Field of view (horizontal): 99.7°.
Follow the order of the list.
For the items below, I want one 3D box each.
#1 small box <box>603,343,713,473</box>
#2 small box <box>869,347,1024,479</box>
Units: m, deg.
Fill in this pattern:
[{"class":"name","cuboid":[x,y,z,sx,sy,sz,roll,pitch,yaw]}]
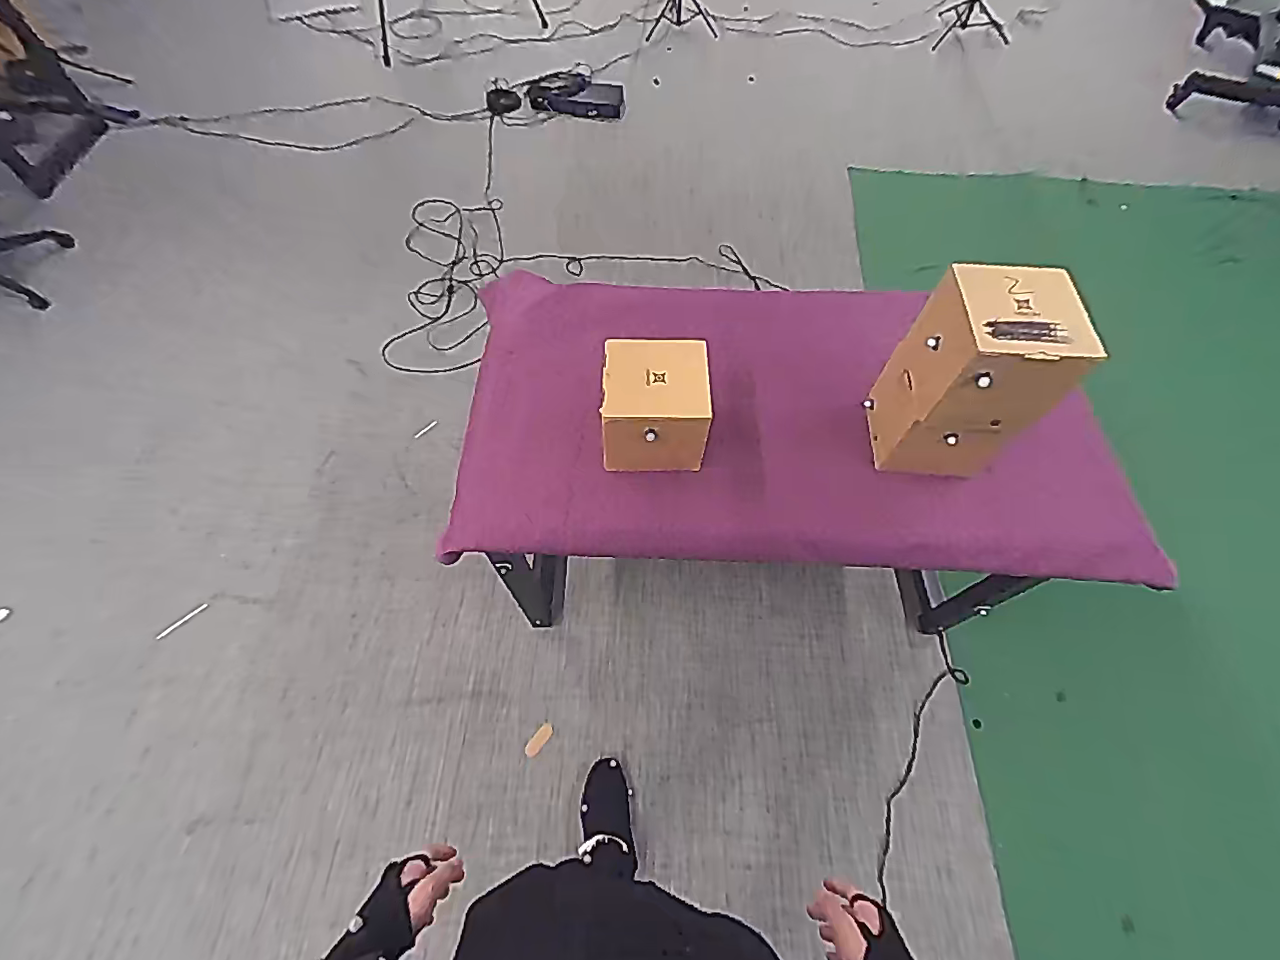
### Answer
[{"class":"small box","cuboid":[0.027,-0.122,0.959,0.179,0.176,0.168,0,61,0]},{"class":"small box","cuboid":[0.526,-0.115,0.961,0.179,0.176,0.168,4,61,1]}]
